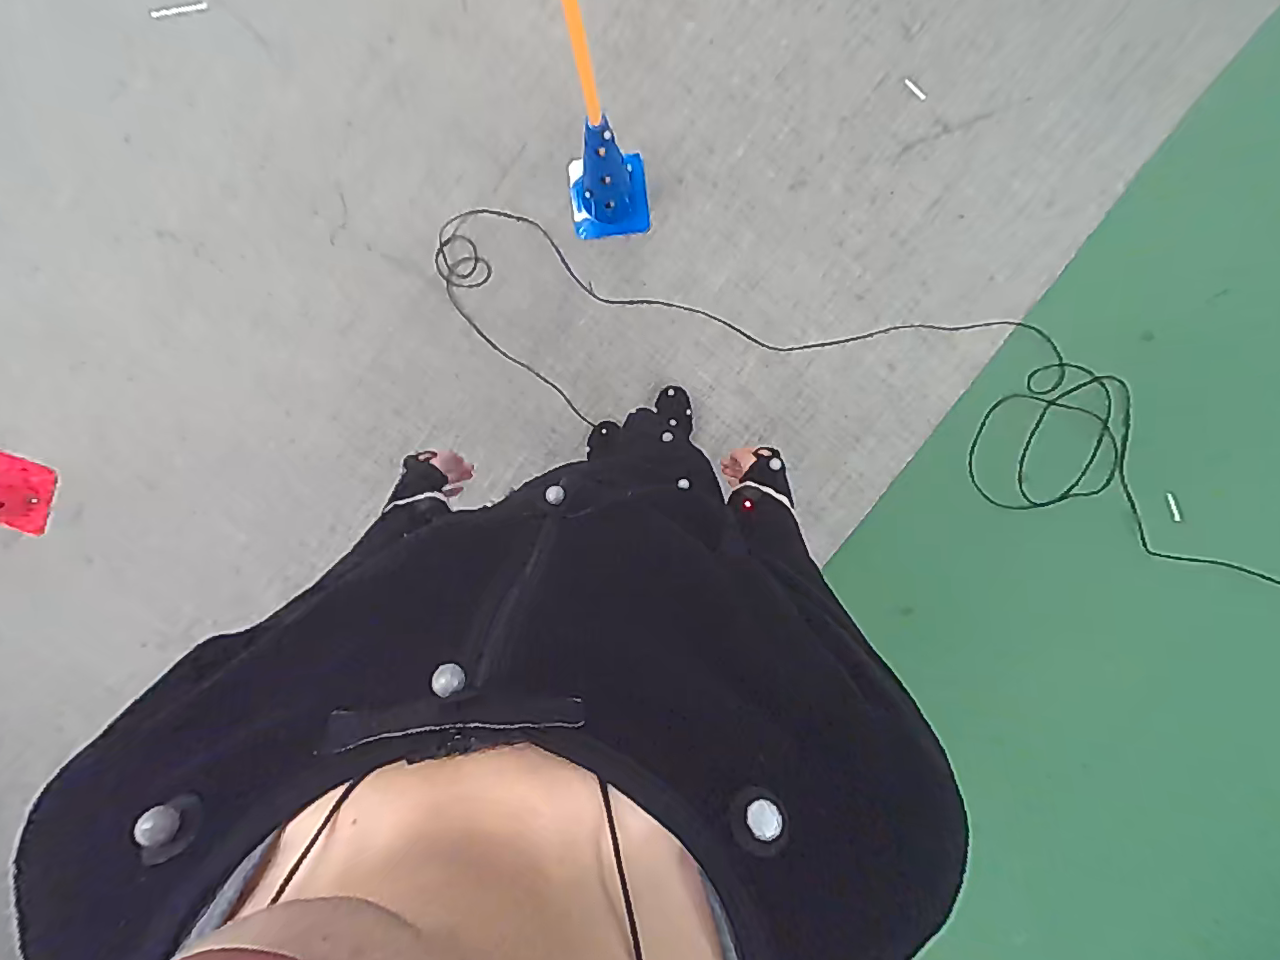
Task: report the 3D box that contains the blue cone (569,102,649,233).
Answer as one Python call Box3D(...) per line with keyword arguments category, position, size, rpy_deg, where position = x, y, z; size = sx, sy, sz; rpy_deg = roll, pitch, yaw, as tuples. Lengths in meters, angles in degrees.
Box3D(category="blue cone", position=(-0.083, -0.726, 1.230), size=(0.192, 0.380, 0.193), rpy_deg=(-8, 94, 1))
